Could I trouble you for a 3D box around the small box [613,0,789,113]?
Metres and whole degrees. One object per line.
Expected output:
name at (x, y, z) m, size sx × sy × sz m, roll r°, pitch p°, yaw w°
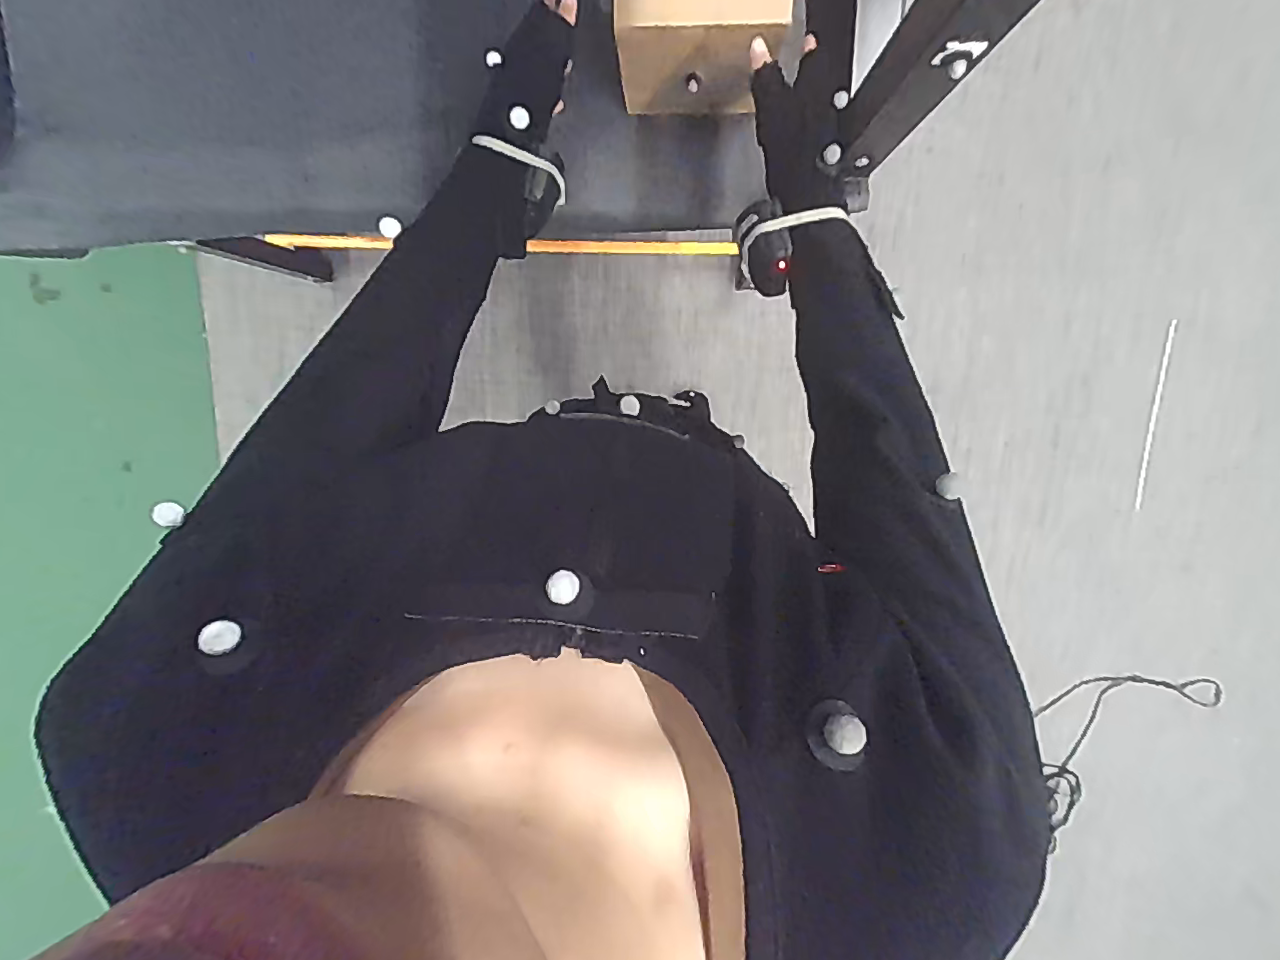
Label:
small box at (0.063, -0.516, 0.567) m, size 0.168 × 0.176 × 0.179 m, roll 2°, pitch 100°, yaw 2°
